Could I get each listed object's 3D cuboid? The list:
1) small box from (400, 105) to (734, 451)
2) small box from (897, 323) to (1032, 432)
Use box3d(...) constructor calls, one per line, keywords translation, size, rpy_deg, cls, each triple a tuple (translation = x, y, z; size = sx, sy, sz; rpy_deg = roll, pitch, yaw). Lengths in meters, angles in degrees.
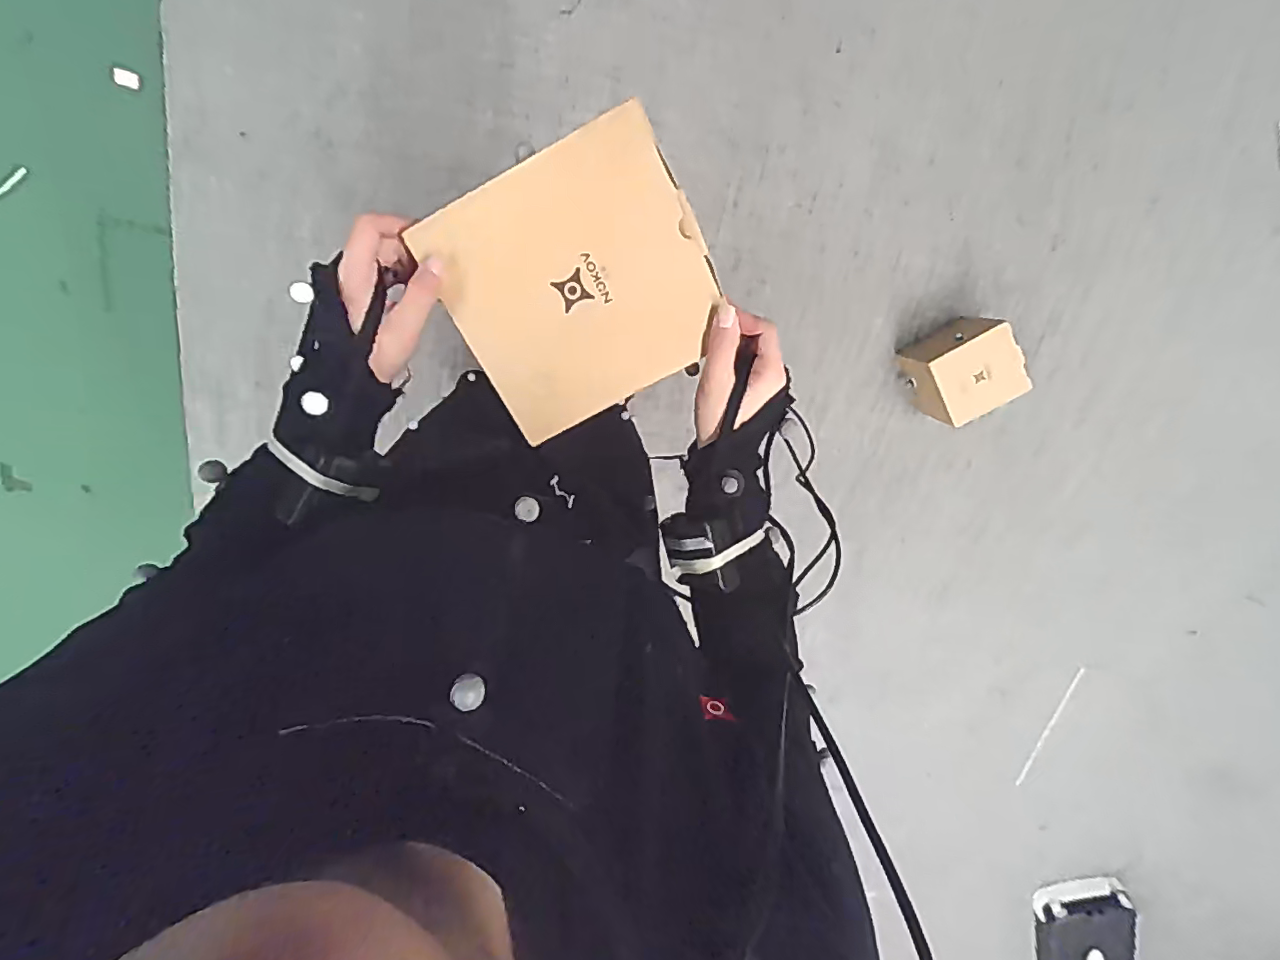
box3d(translation=(-0.047, -0.150, 0.438), size=(0.179, 0.176, 0.168), rpy_deg=(-27, 108, 7), cls="small box")
box3d(translation=(0.714, -0.235, 1.207), size=(0.179, 0.176, 0.168), rpy_deg=(-29, 106, 11), cls="small box")
